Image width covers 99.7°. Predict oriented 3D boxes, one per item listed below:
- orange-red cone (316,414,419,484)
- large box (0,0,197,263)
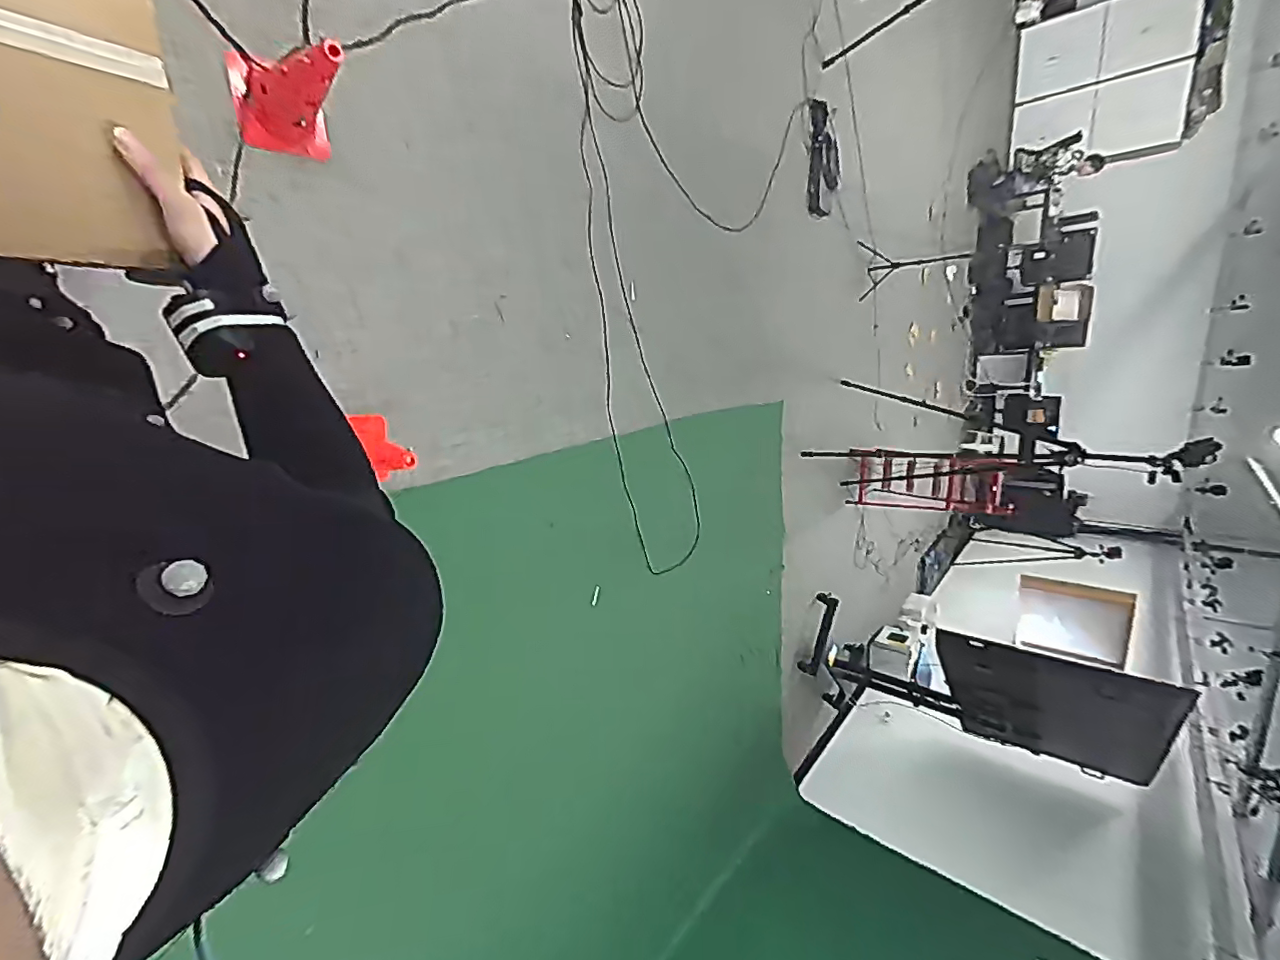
[{"bbox_3d":[-0.702,-0.071,1.464,0.199,0.360,0.198,-10,105,-49],"label":"orange-red cone"},{"bbox_3d":[-0.648,-0.347,0.405,0.408,0.320,0.320,-16,118,-49],"label":"large box"}]
